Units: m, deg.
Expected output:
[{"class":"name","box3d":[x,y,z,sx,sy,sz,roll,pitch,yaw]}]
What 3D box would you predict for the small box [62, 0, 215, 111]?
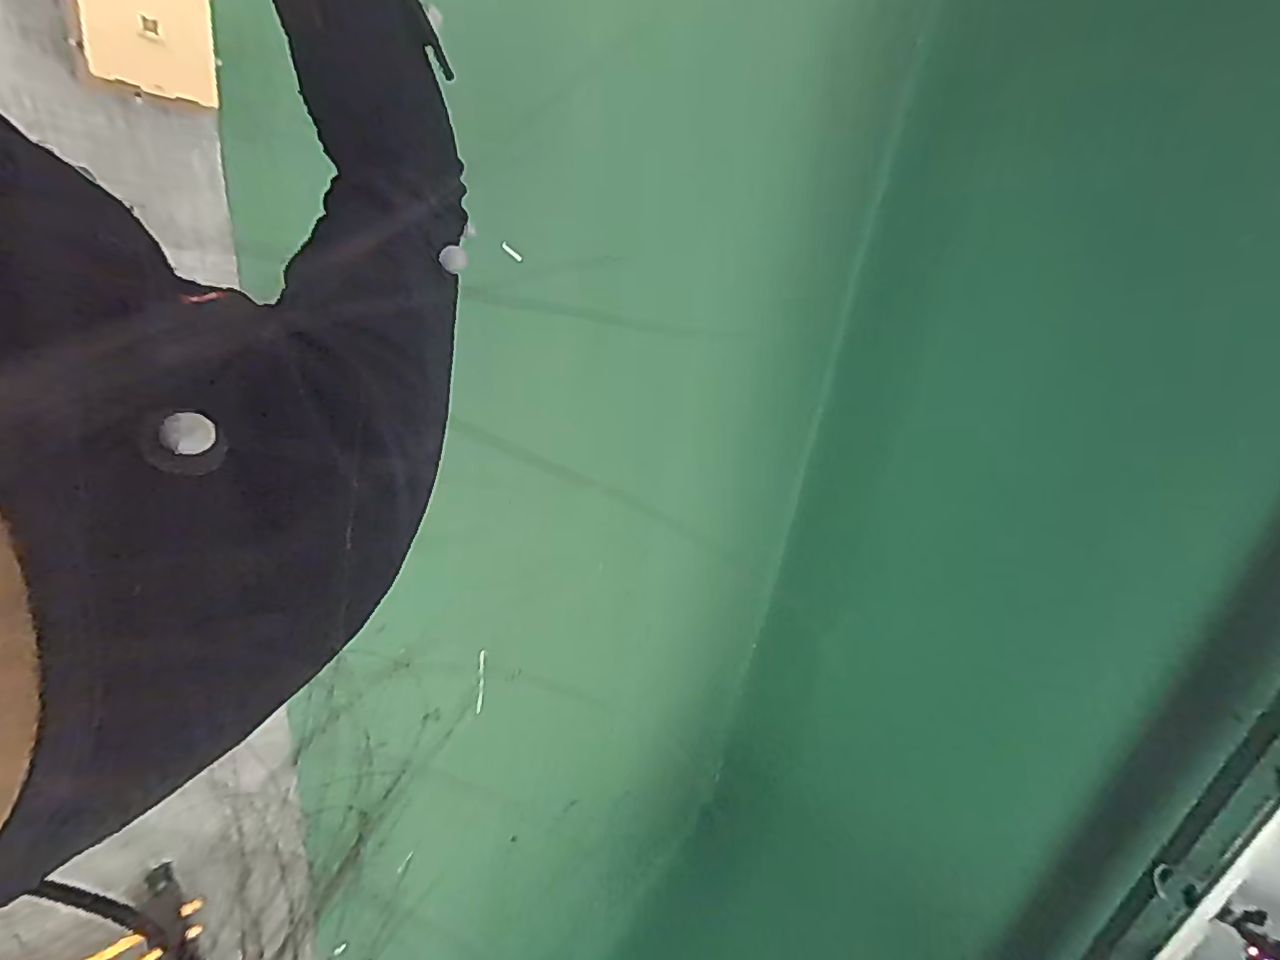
[{"class":"small box","box3d":[-0.847,-0.753,0.912,0.168,0.176,0.179,-13,120,-45]}]
